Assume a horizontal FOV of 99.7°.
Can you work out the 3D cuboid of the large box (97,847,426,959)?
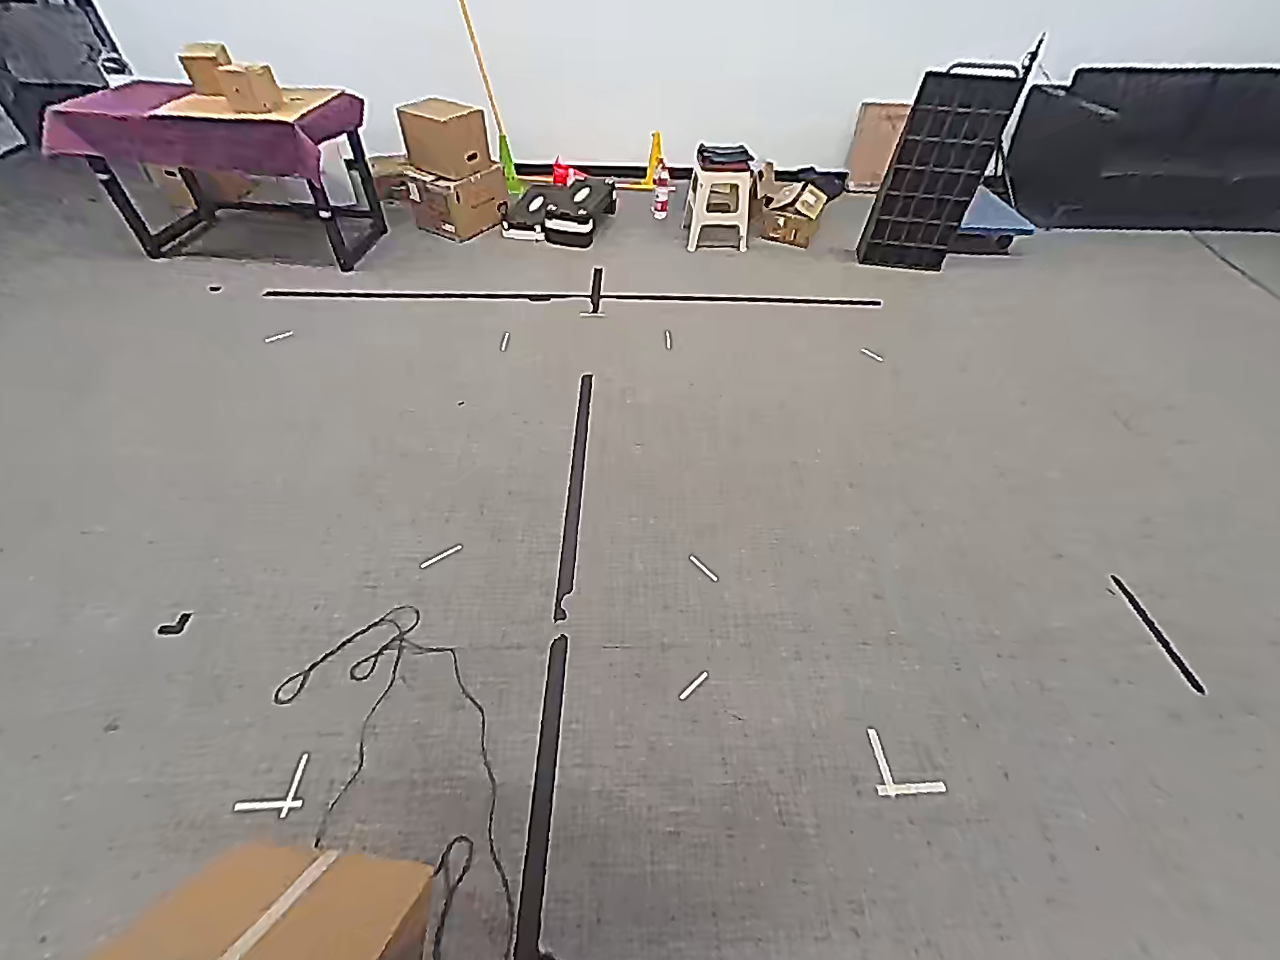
[{"bbox_3d":[-0.497,0.723,0.629,0.320,0.408,0.320,6,86,1],"label":"large box"}]
